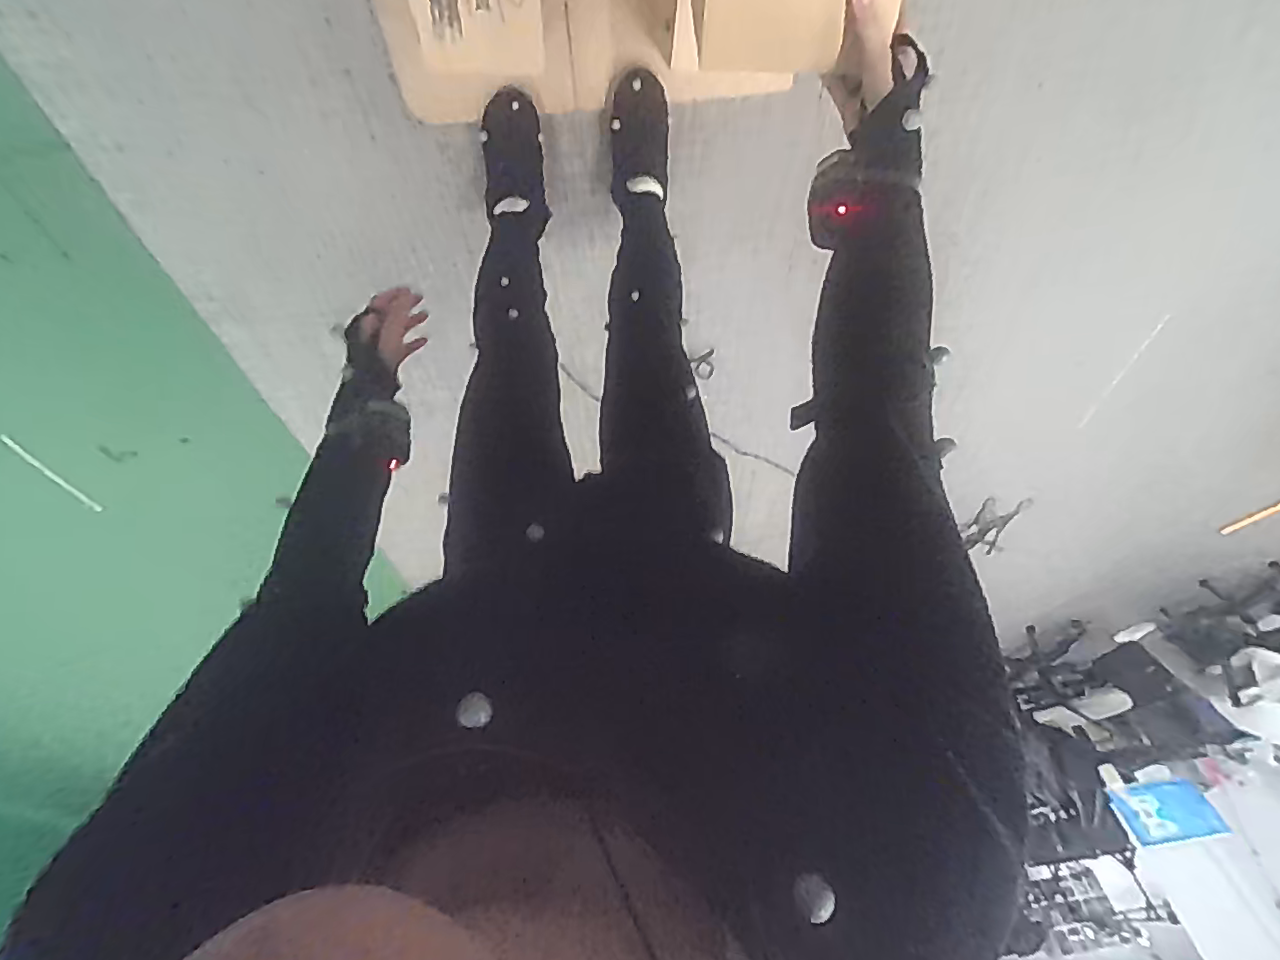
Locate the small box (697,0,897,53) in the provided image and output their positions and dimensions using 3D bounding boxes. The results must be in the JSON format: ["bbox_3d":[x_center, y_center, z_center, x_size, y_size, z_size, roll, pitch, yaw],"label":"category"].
[{"bbox_3d":[0.138,-0.498,0.455,0.168,0.176,0.179,2,145,0],"label":"small box"}]

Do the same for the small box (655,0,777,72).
[{"bbox_3d":[0.120,-0.741,0.804,0.168,0.176,0.179,-4,141,-10],"label":"small box"}]
